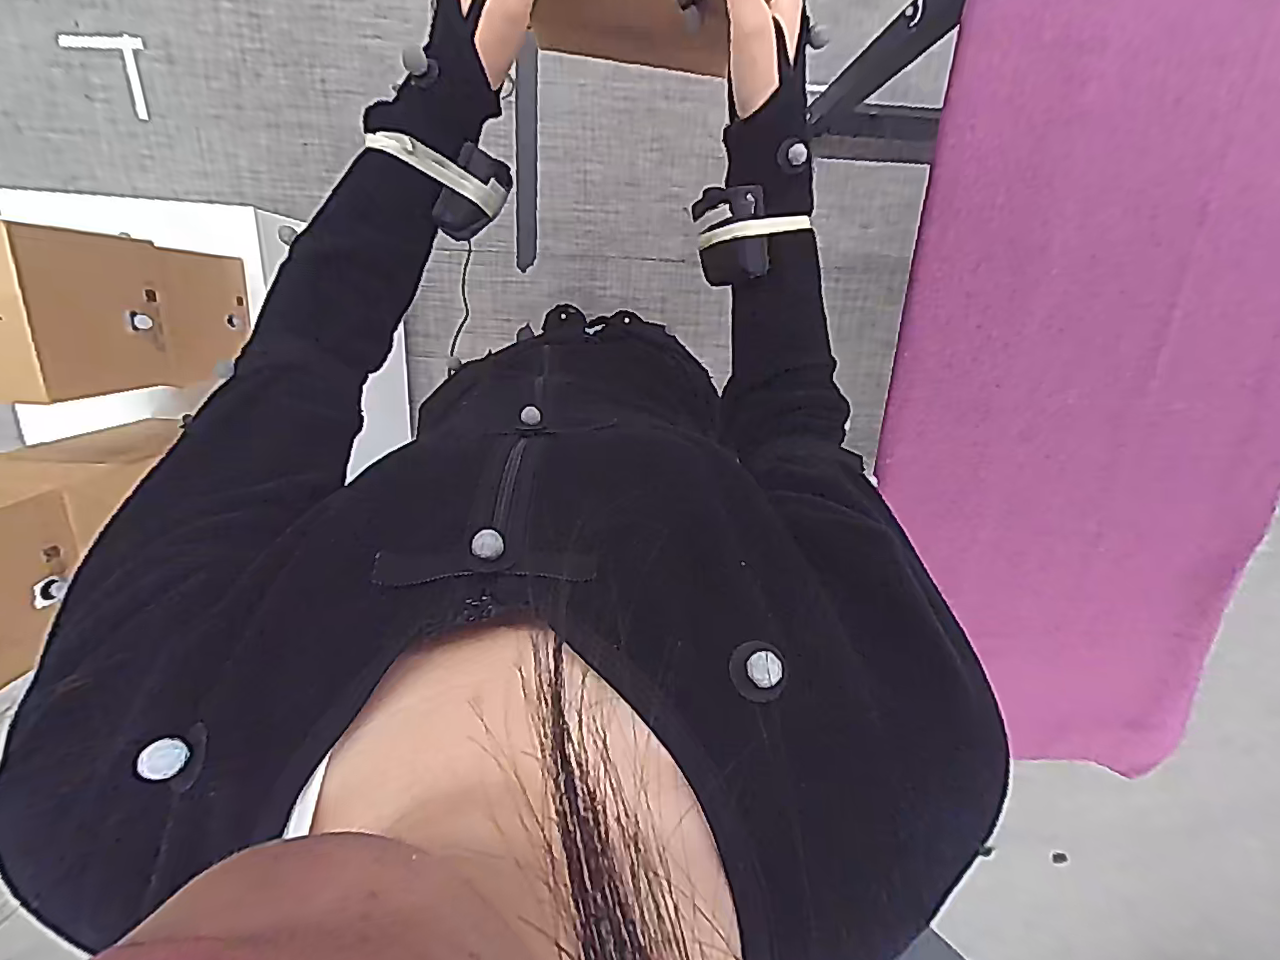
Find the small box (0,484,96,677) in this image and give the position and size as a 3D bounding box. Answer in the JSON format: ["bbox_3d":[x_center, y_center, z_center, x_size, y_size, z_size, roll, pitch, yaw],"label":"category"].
[{"bbox_3d":[-0.661,0.103,0.477,0.179,0.176,0.168,1,108,-4],"label":"small box"}]

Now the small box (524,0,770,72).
[{"bbox_3d":[0.010,-0.416,0.374,0.179,0.176,0.168,7,108,-2],"label":"small box"}]

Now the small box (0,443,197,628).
[{"bbox_3d":[-0.667,0.056,0.633,0.179,0.176,0.168,2,108,-3],"label":"small box"}]

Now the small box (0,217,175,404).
[{"bbox_3d":[-0.642,-0.179,0.557,0.179,0.176,0.168,4,108,-5],"label":"small box"}]
